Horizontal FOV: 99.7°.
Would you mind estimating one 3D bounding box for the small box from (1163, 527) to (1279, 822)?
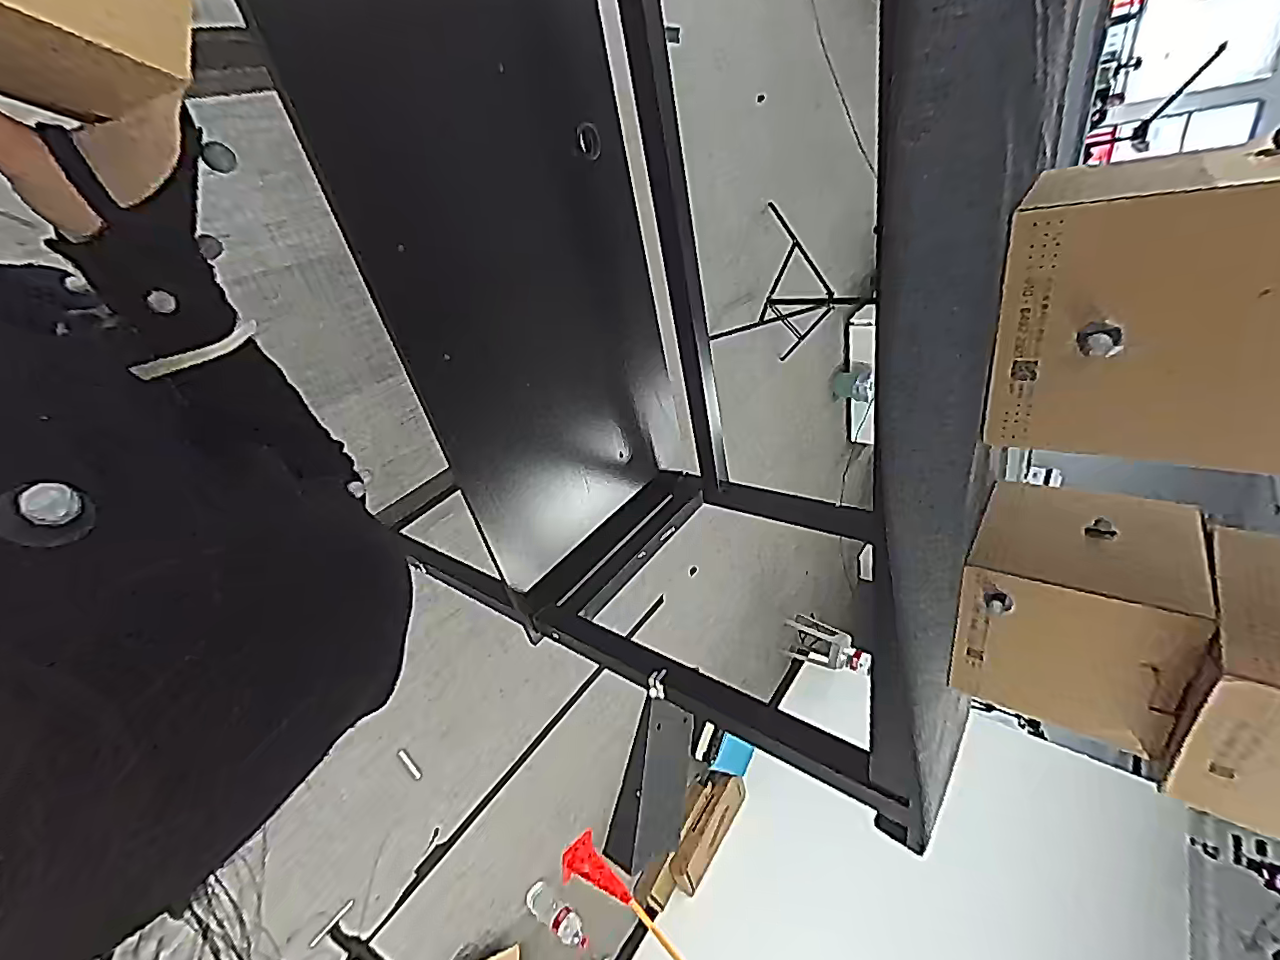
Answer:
[{"bbox_3d":[0.538,0.163,0.421,0.179,0.176,0.168,-44,133,-37],"label":"small box"}]

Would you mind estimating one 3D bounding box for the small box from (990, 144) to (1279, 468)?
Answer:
[{"bbox_3d":[0.367,-0.129,0.382,0.179,0.176,0.168,-42,130,-40],"label":"small box"}]

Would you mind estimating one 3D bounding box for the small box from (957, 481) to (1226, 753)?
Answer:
[{"bbox_3d":[0.430,0.118,0.538,0.179,0.176,0.168,-38,128,-42],"label":"small box"}]
